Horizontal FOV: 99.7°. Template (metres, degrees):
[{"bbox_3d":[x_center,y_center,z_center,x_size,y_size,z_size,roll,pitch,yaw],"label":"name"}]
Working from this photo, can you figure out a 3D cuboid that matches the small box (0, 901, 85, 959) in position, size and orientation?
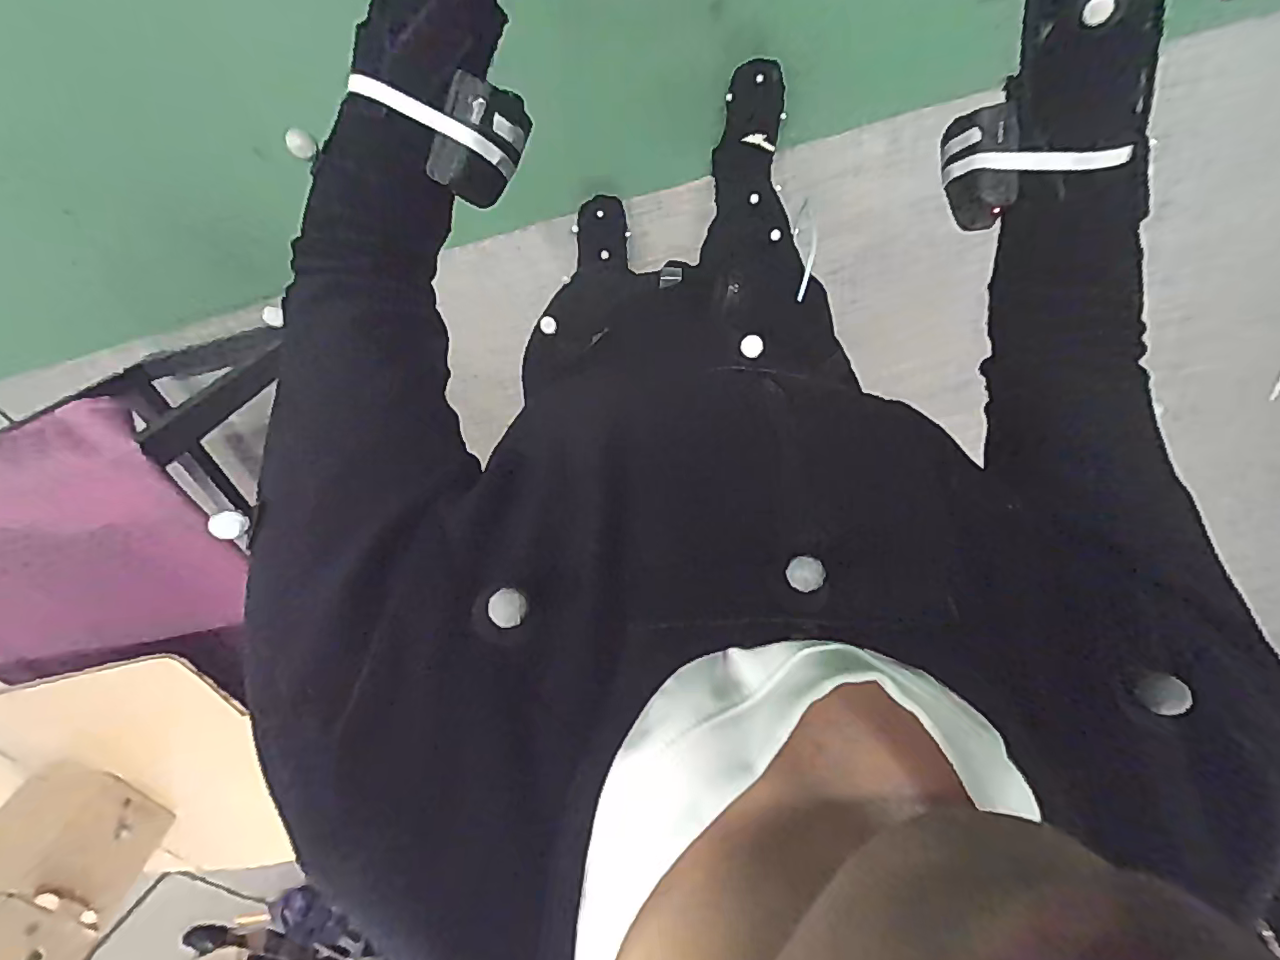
[{"bbox_3d":[-0.940,0.696,0.729,0.179,0.176,0.168,-10,124,8],"label":"small box"}]

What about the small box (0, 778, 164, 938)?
[{"bbox_3d":[-0.936,0.600,0.861,0.179,0.176,0.168,-9,125,7],"label":"small box"}]
